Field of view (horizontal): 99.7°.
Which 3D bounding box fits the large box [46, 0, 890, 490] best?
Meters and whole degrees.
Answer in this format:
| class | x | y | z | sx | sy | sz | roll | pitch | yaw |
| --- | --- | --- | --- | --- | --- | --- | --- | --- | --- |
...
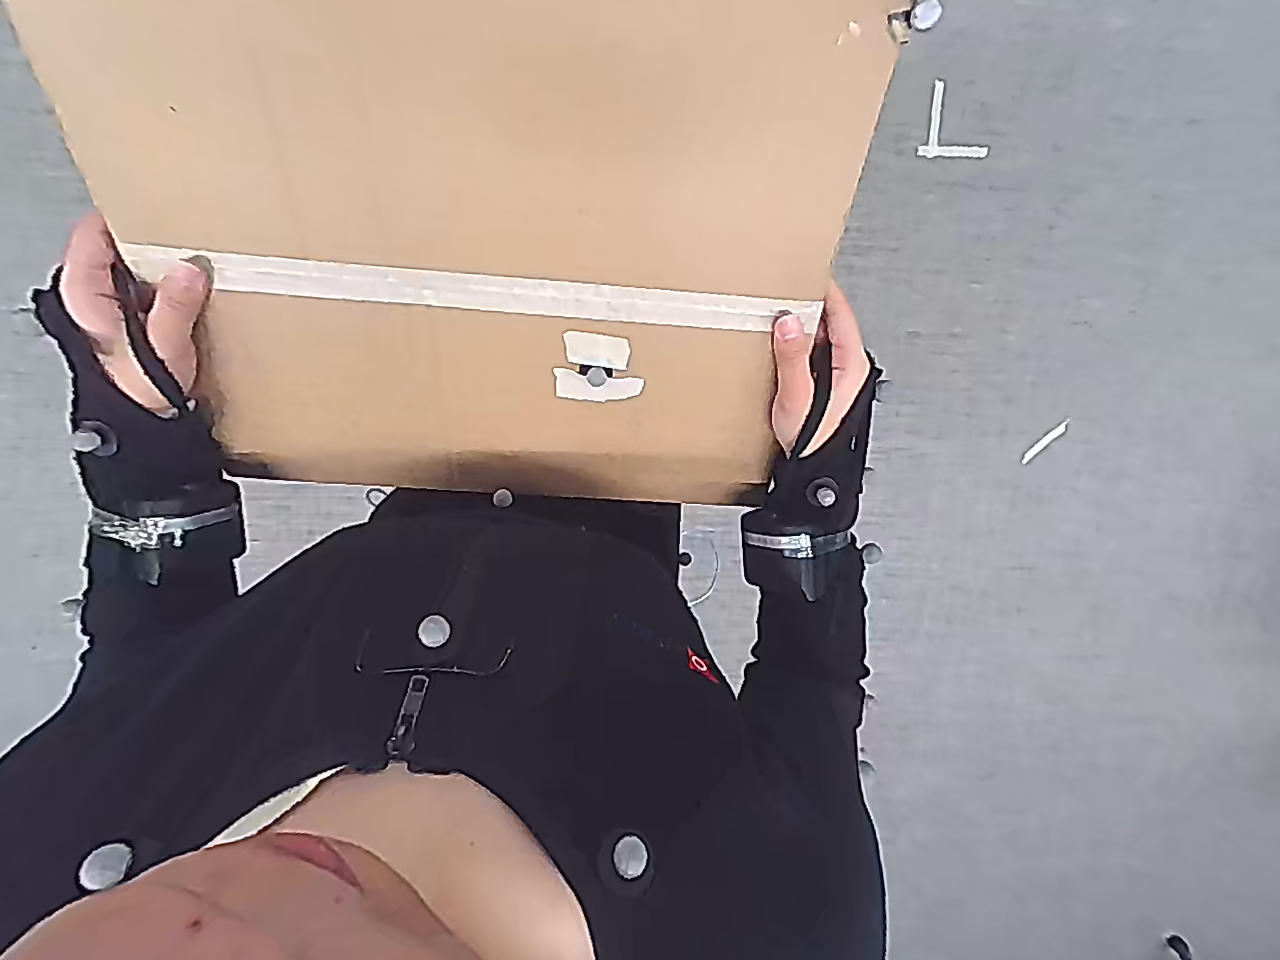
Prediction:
| class | x | y | z | sx | sy | sz | roll | pitch | yaw |
| --- | --- | --- | --- | --- | --- | --- | --- | --- | --- |
| large box | -0.094 | -0.208 | 0.454 | 0.408 | 0.320 | 0.320 | 2 | 128 | -5 |
